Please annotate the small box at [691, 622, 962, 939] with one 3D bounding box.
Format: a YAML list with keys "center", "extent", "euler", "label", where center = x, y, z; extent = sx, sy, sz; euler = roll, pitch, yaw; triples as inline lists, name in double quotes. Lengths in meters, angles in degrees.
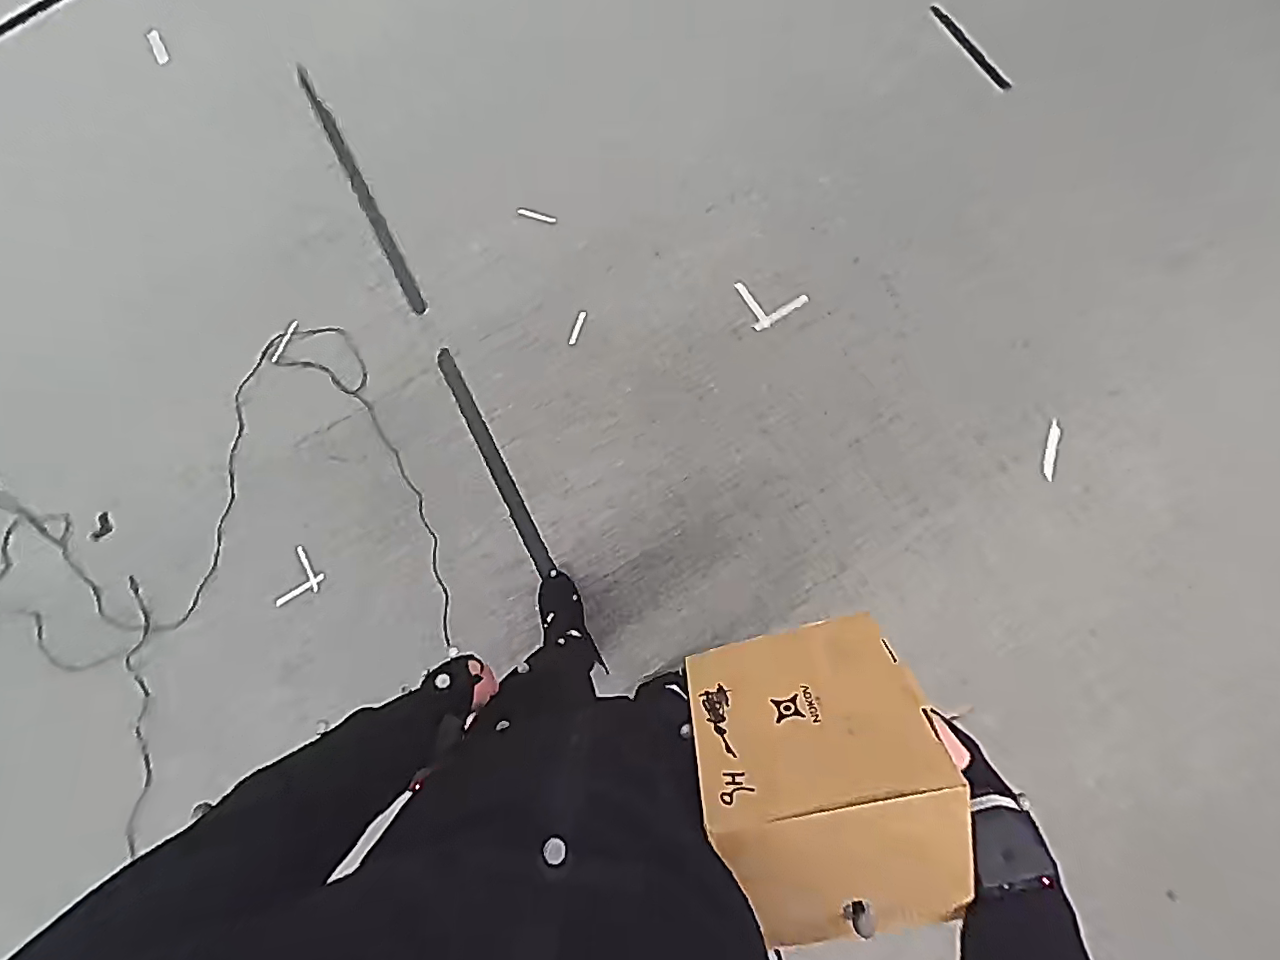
- center: [0.156, 0.260, 0.479]
  extent: [0.179, 0.168, 0.176]
  euler: [-16, 115, 6]
  label: "small box"
